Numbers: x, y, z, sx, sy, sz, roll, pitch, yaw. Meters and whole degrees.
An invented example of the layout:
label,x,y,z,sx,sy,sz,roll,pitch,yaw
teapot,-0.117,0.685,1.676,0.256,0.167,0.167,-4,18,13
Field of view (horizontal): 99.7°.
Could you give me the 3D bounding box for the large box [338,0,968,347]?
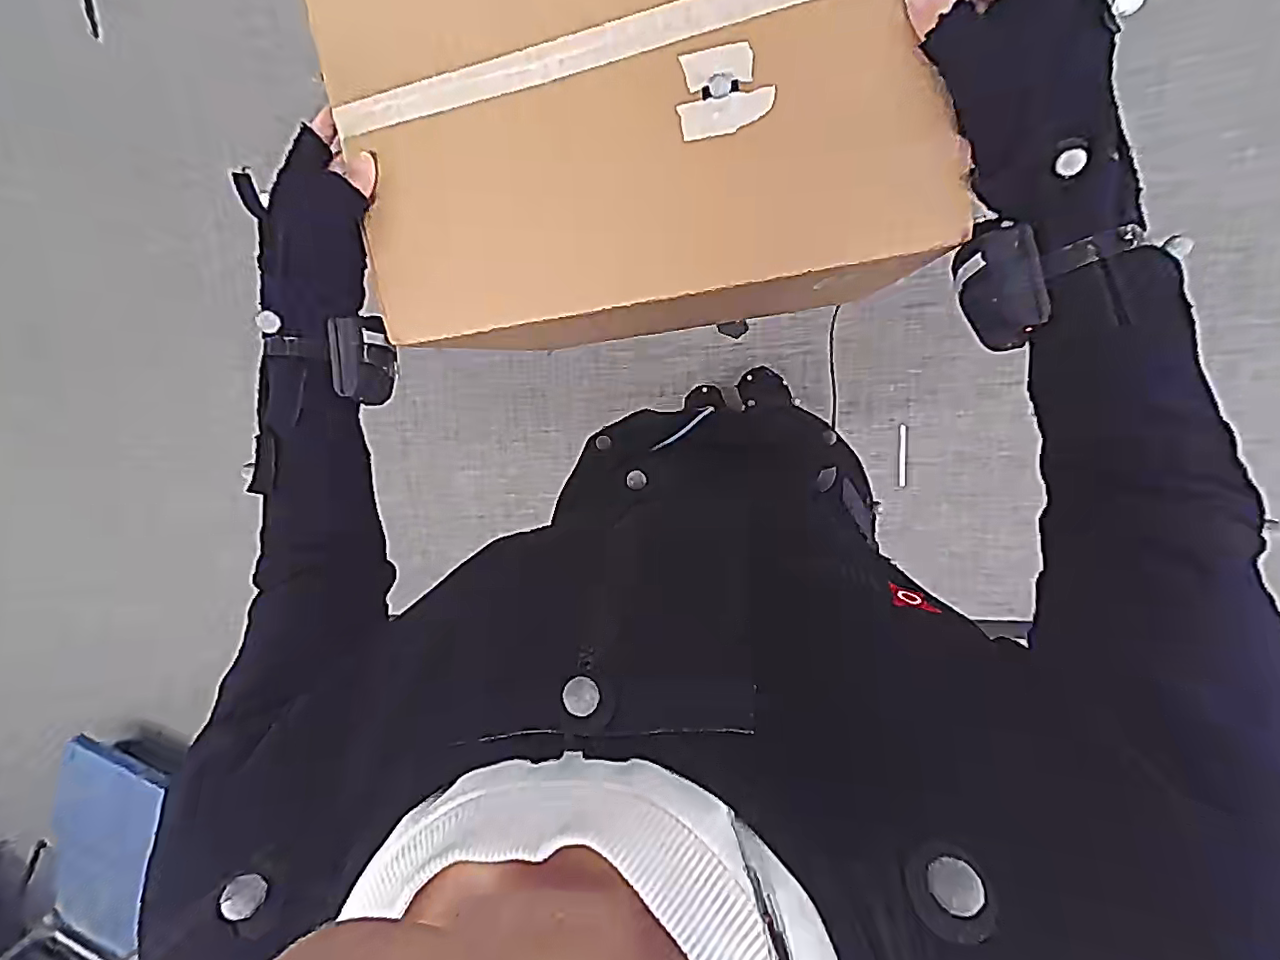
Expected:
label,x,y,z,sx,sy,sz,roll,pitch,yaw
large box,0.017,-0.313,0.496,0.408,0.320,0.320,-6,102,12
